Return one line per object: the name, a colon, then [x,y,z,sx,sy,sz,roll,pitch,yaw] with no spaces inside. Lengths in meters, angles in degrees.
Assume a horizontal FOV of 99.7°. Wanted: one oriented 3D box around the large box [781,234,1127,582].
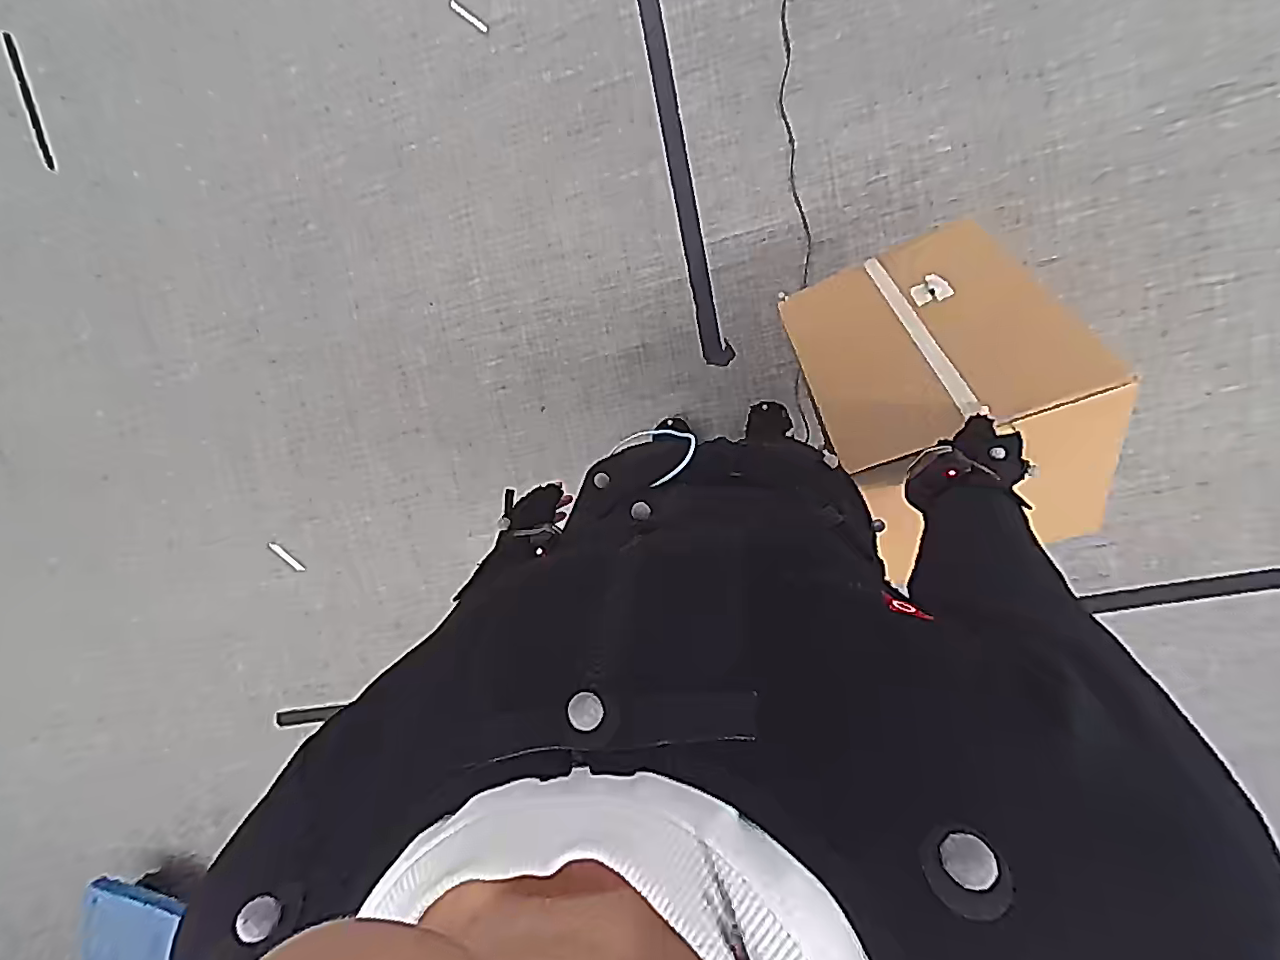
large box: [0.460,-0.111,0.871,0.320,0.408,0.320,-20,135,17]
